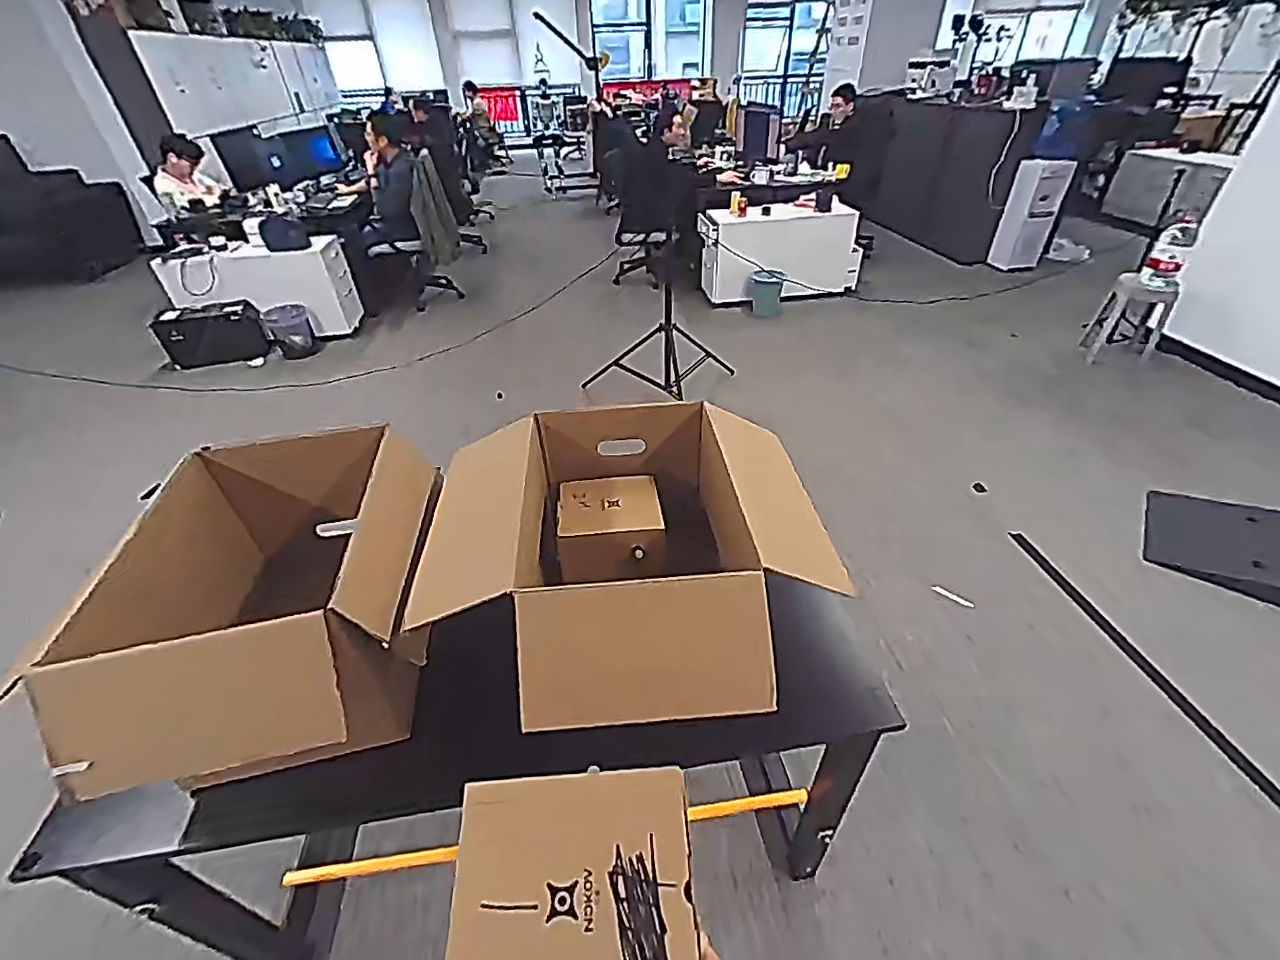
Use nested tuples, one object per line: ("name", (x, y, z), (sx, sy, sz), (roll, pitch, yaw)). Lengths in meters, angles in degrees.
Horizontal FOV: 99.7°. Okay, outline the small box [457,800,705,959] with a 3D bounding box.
("small box", (-0.043, 0.375, 0.448), (0.179, 0.176, 0.168), (-3, 51, -3))
